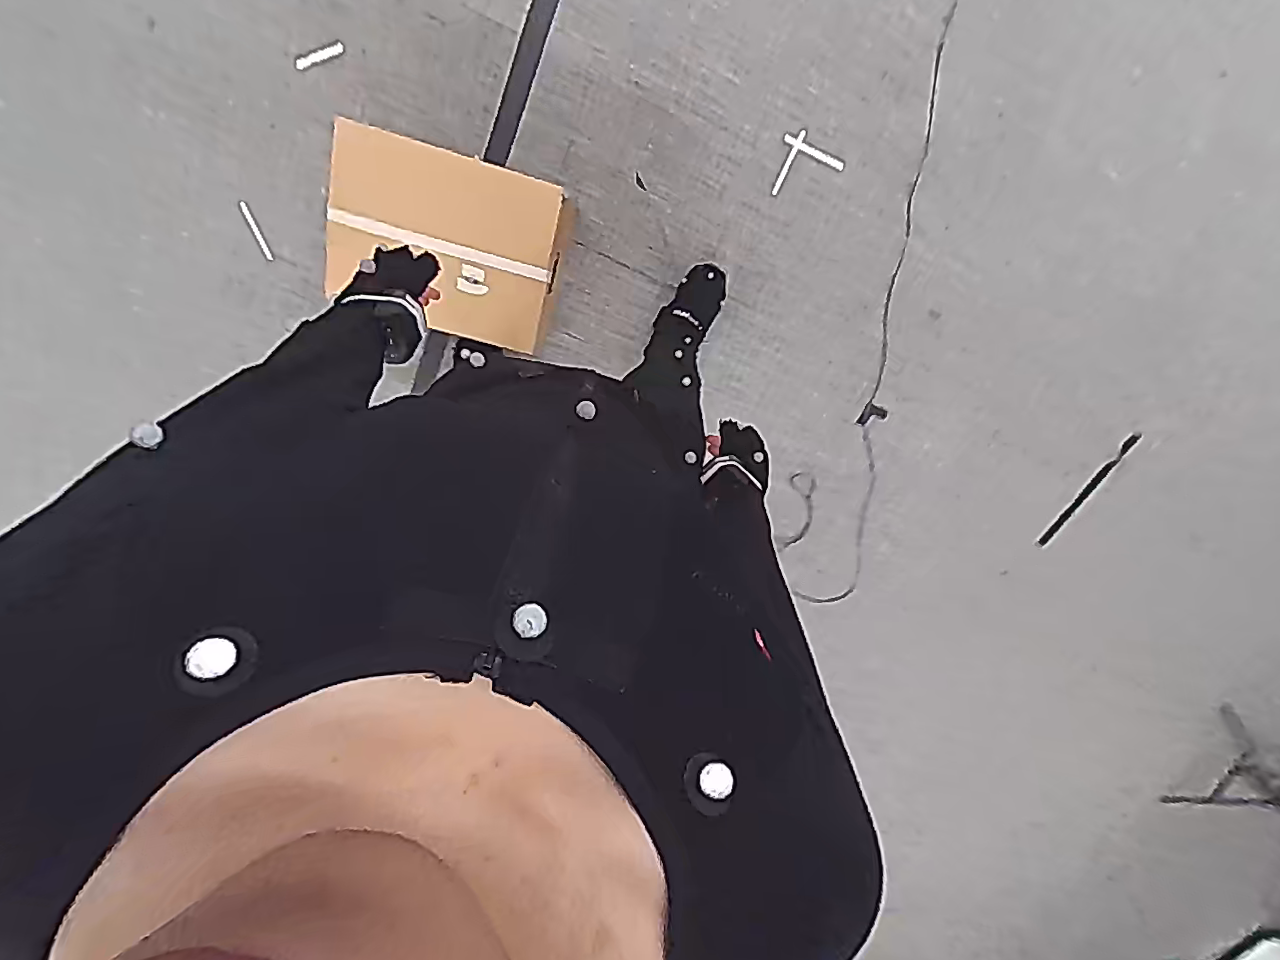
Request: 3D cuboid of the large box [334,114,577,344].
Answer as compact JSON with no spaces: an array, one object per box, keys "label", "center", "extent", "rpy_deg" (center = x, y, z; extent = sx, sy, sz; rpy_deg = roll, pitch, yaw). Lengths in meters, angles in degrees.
[{"label":"large box","center":[-0.369,-0.510,1.146],"extent":[0.408,0.320,0.320],"rpy_deg":[13,113,-9]}]
